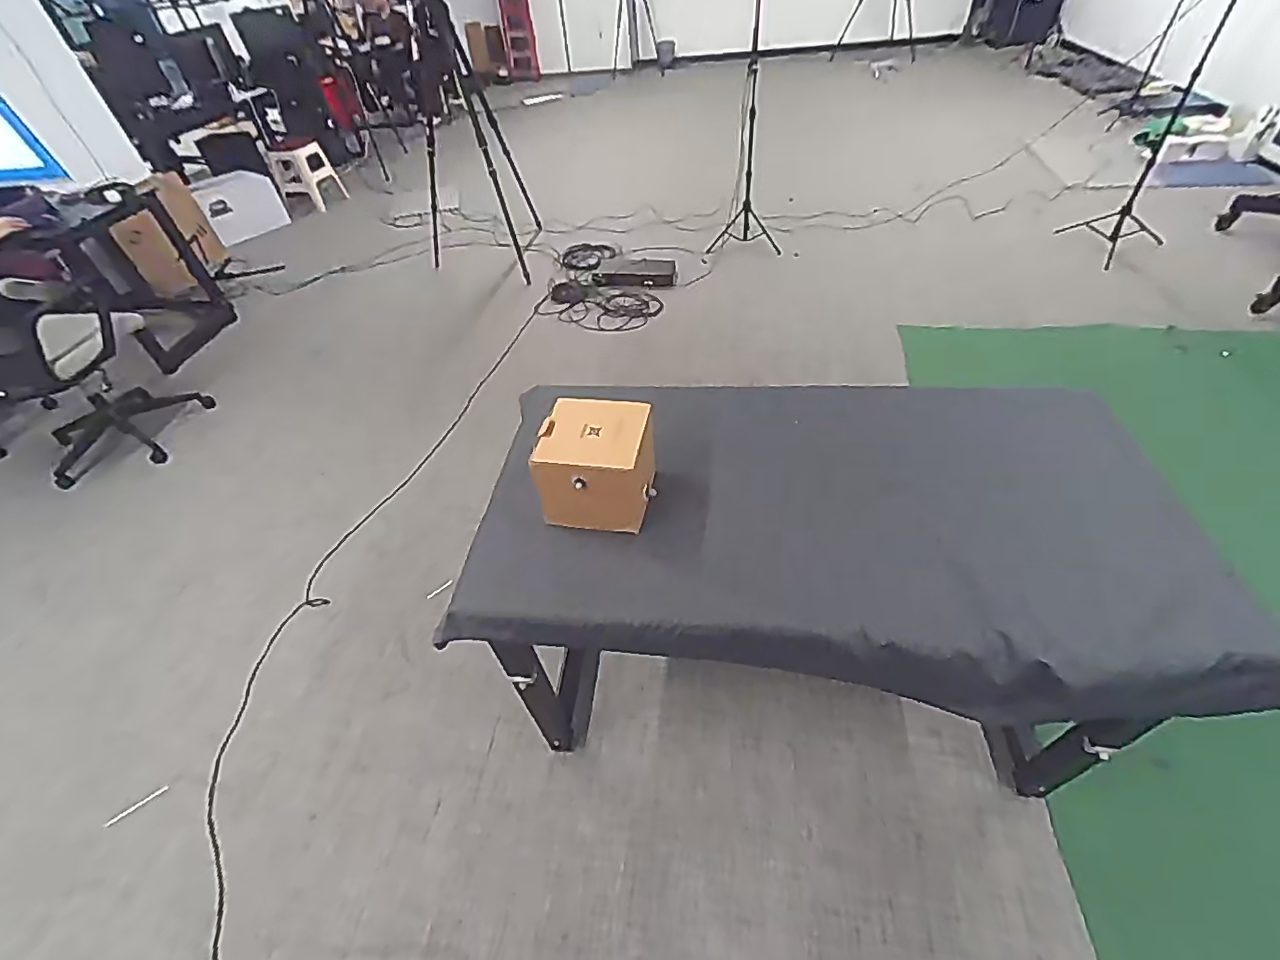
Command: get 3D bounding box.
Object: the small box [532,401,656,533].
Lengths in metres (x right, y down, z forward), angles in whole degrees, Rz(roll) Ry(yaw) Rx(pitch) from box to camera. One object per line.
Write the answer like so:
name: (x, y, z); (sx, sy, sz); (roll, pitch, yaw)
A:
small box: (-0.072, -0.021, 0.972); (0.179, 0.176, 0.168); (6, 48, 10)
